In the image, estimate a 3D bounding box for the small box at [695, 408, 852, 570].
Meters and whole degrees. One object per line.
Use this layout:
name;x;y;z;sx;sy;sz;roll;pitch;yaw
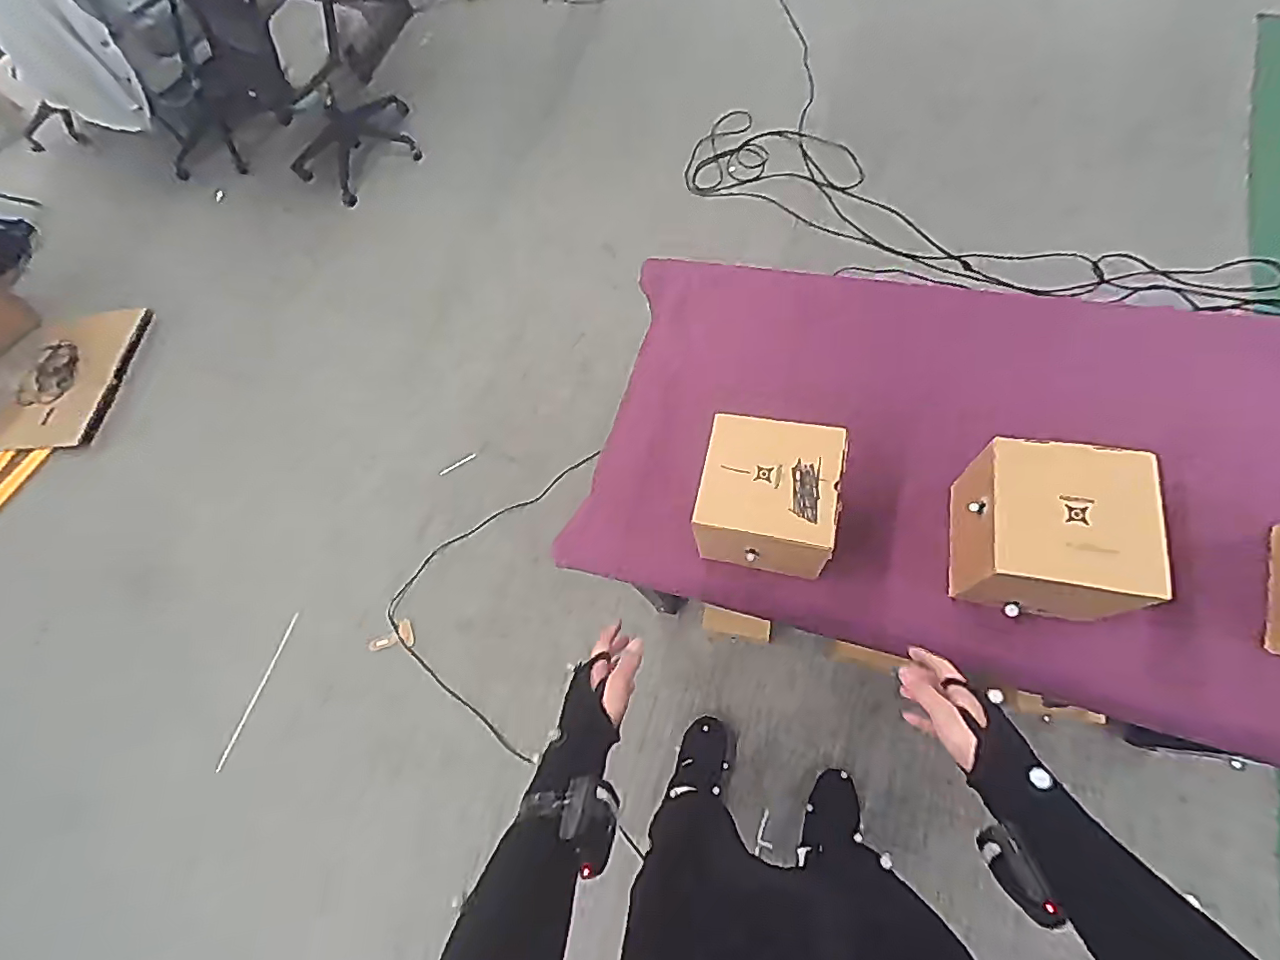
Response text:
small box;0.183;0.020;0.758;0.179;0.176;0.168;9;69;14

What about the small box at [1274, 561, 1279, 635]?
small box;0.856;0.128;0.581;0.168;0.176;0.179;19;71;19

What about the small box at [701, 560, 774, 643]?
small box;0.259;0.323;1.417;0.168;0.176;0.179;5;69;13

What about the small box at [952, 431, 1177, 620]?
small box;0.510;0.062;0.678;0.168;0.176;0.179;9;69;16

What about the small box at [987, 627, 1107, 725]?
small box;0.915;0.448;1.235;0.168;0.176;0.179;7;69;14
